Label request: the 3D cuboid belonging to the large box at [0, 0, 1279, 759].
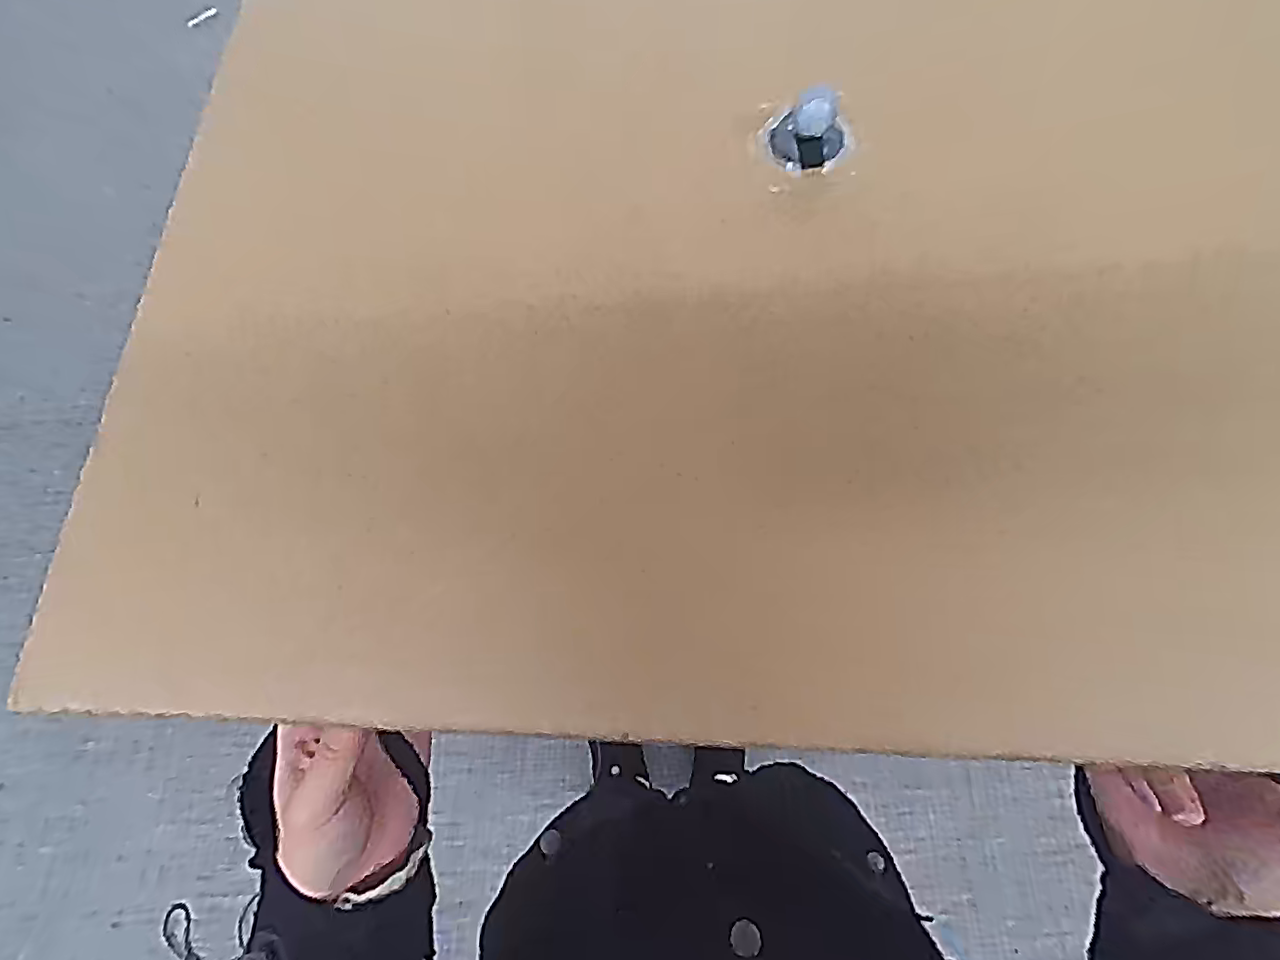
[{"bbox_3d":[0.043,-0.048,0.300,0.408,0.320,0.320,-1,75,5],"label":"large box"}]
